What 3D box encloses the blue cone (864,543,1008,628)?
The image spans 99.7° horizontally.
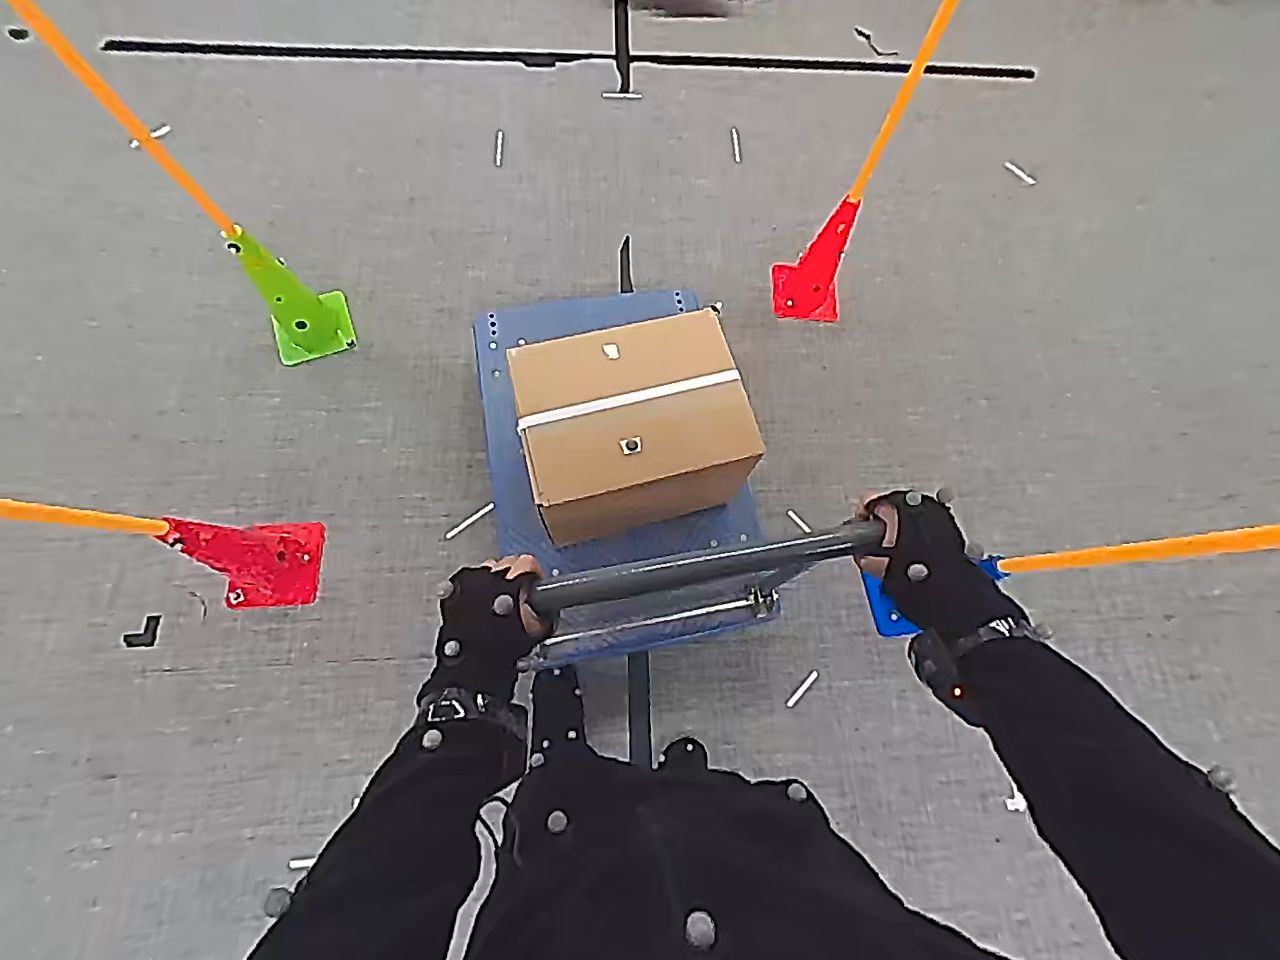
[{"bbox_3d":[0.684,0.214,1.212,0.193,0.380,0.192,-5,70,-6],"label":"blue cone"}]

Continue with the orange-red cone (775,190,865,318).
[{"bbox_3d":[0.523,-0.640,1.486,0.199,0.360,0.198,6,71,-3],"label":"orange-red cone"}]
